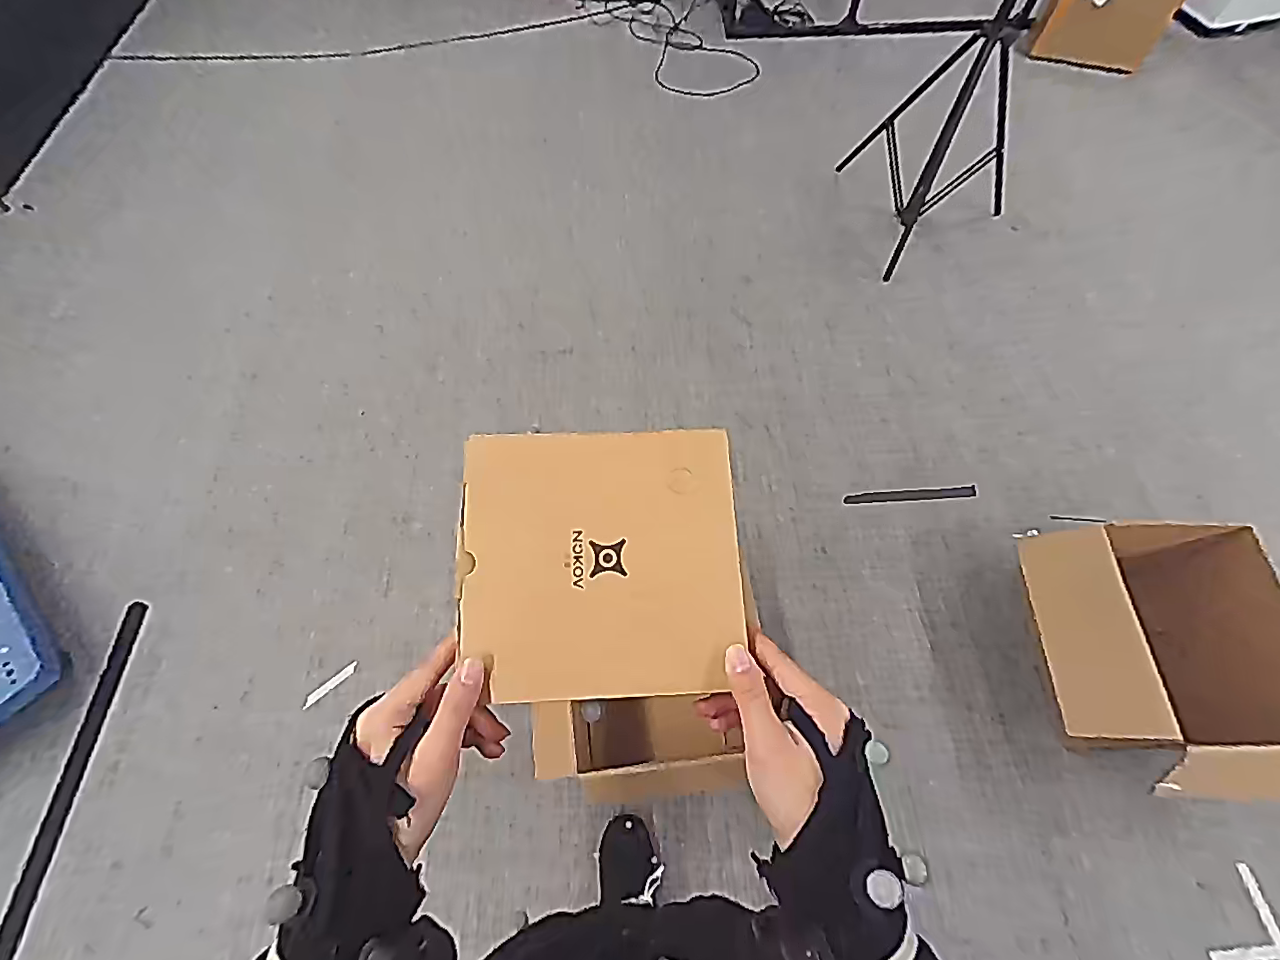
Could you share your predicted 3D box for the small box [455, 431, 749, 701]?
[{"bbox_3d":[-0.027,0.068,0.414,0.179,0.176,0.168,-2,74,-2],"label":"small box"}]
